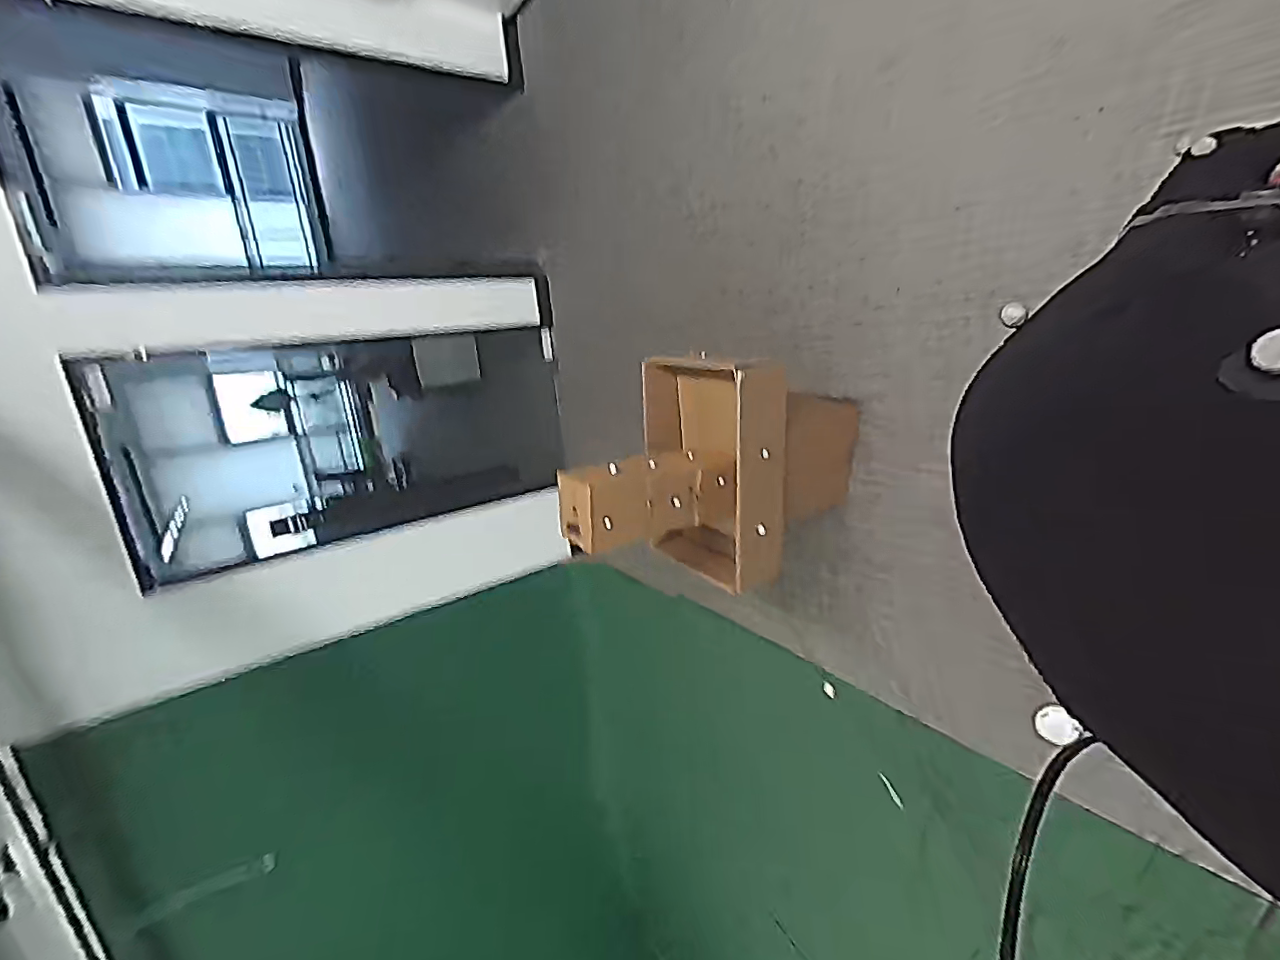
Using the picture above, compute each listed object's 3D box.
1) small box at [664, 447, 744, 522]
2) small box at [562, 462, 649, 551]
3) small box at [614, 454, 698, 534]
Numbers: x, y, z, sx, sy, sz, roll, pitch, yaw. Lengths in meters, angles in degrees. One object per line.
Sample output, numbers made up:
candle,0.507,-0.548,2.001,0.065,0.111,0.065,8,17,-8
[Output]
small box,0.184,0.006,1.581,0.179,0.176,0.168,26,120,52
small box,-0.089,0.062,1.405,0.168,0.176,0.179,19,115,52
small box,0.044,0.031,1.498,0.179,0.176,0.168,23,118,50
